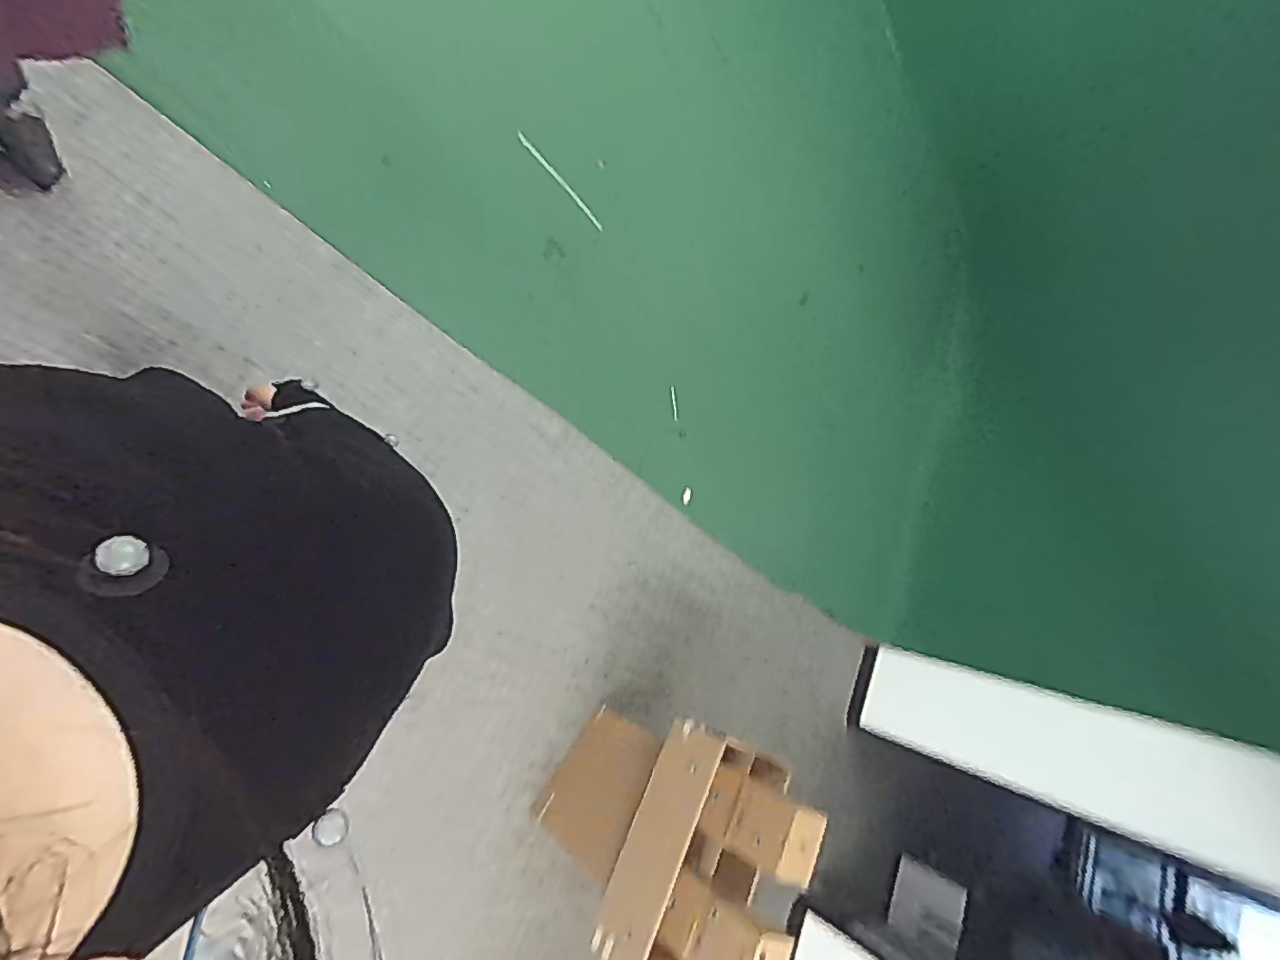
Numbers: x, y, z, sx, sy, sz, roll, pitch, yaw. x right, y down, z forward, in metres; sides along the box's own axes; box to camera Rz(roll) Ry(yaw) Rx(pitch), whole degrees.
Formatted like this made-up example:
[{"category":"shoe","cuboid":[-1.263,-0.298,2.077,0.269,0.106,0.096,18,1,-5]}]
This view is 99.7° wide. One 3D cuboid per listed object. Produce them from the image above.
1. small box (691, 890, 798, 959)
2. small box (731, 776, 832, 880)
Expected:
[{"category":"small box","cuboid":[0.257,1.166,1.350,0.179,0.176,0.168,42,67,-35]},{"category":"small box","cuboid":[0.370,0.913,1.428,0.179,0.176,0.168,39,69,-35]}]
